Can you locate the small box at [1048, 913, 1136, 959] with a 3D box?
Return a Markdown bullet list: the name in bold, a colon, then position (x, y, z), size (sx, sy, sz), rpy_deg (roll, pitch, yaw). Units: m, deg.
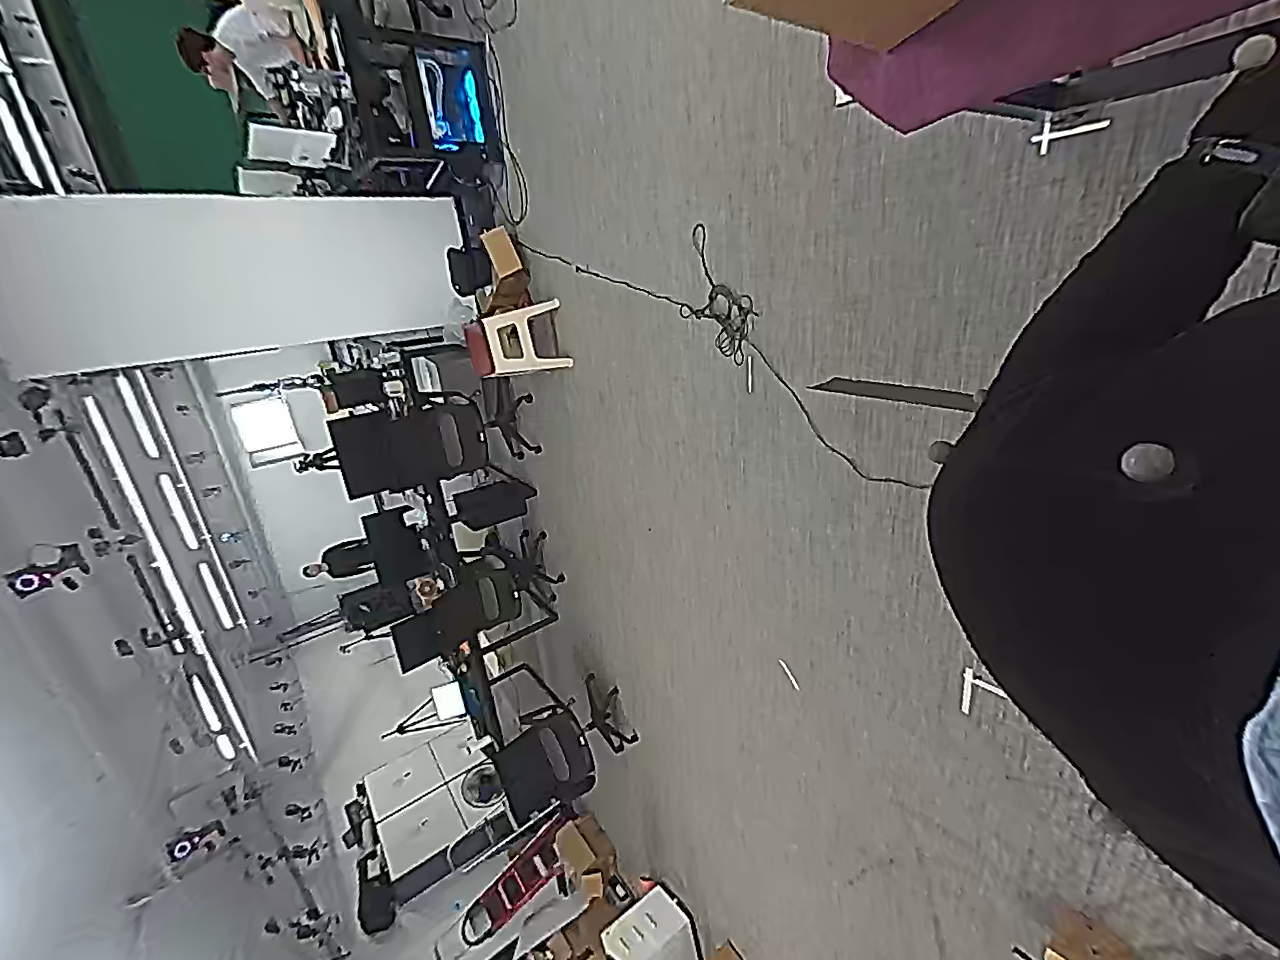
- **small box**: position (1.288, 1.405, 1.541), size (0.168, 0.176, 0.179), rpy_deg (17, 121, 53)
